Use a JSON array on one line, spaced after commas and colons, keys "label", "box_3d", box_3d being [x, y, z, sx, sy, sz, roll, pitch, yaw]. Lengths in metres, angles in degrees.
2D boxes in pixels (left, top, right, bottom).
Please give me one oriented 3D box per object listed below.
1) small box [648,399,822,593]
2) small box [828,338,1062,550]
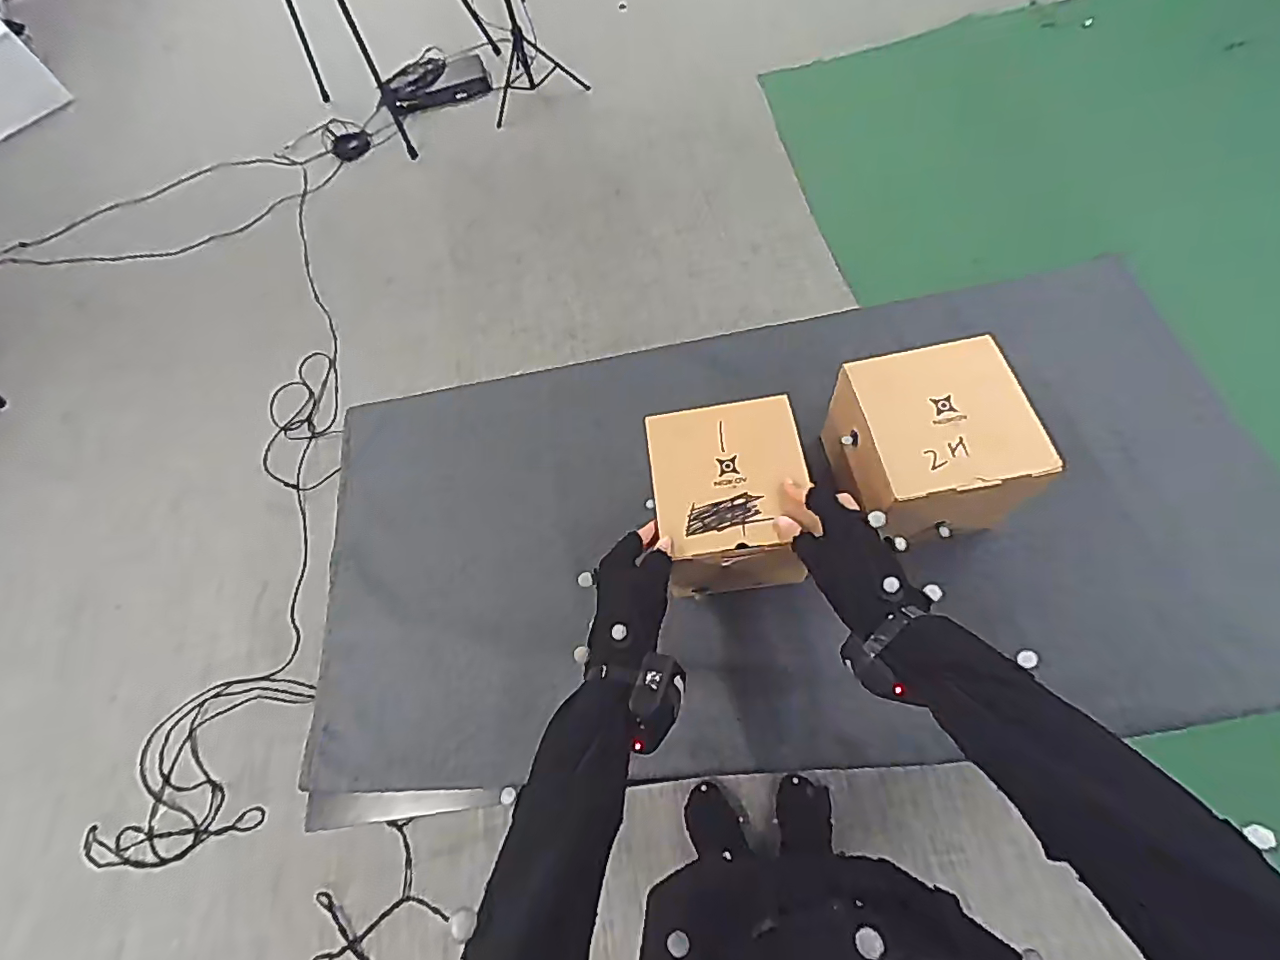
[{"label": "small box", "box_3d": [0.109, 0.030, 0.652, 0.168, 0.176, 0.179, -9, 63, 5]}, {"label": "small box", "box_3d": [0.336, -0.035, 0.644, 0.168, 0.176, 0.179, -11, 64, 5]}]
